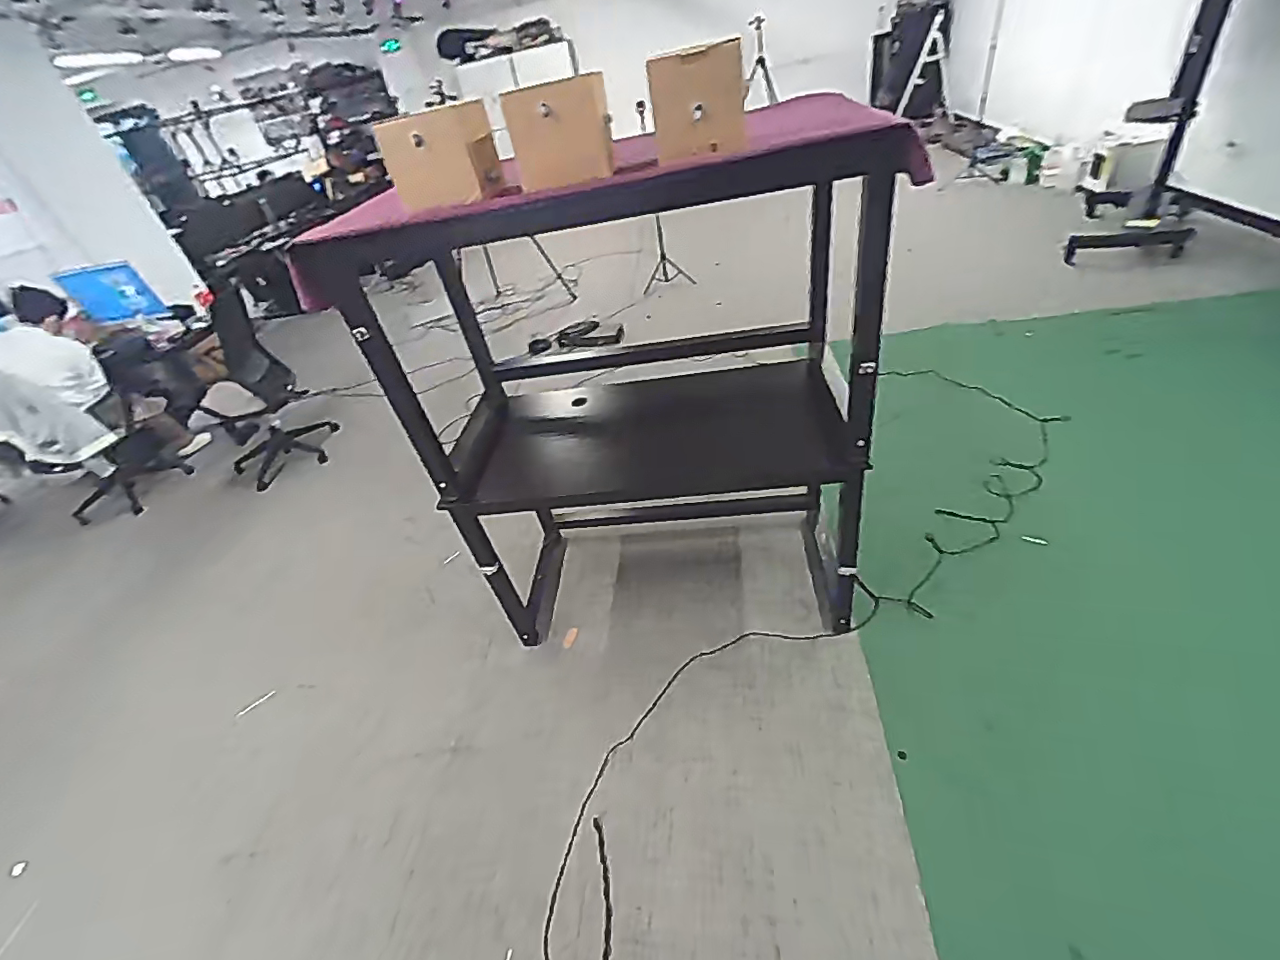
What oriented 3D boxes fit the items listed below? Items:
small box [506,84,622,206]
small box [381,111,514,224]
[{"bbox_3d":[-0.139,-0.667,1.078,0.179,0.176,0.168,-7,36,10],"label":"small box"},{"bbox_3d":[-0.388,-0.645,1.123,0.179,0.176,0.168,-3,38,11],"label":"small box"}]
